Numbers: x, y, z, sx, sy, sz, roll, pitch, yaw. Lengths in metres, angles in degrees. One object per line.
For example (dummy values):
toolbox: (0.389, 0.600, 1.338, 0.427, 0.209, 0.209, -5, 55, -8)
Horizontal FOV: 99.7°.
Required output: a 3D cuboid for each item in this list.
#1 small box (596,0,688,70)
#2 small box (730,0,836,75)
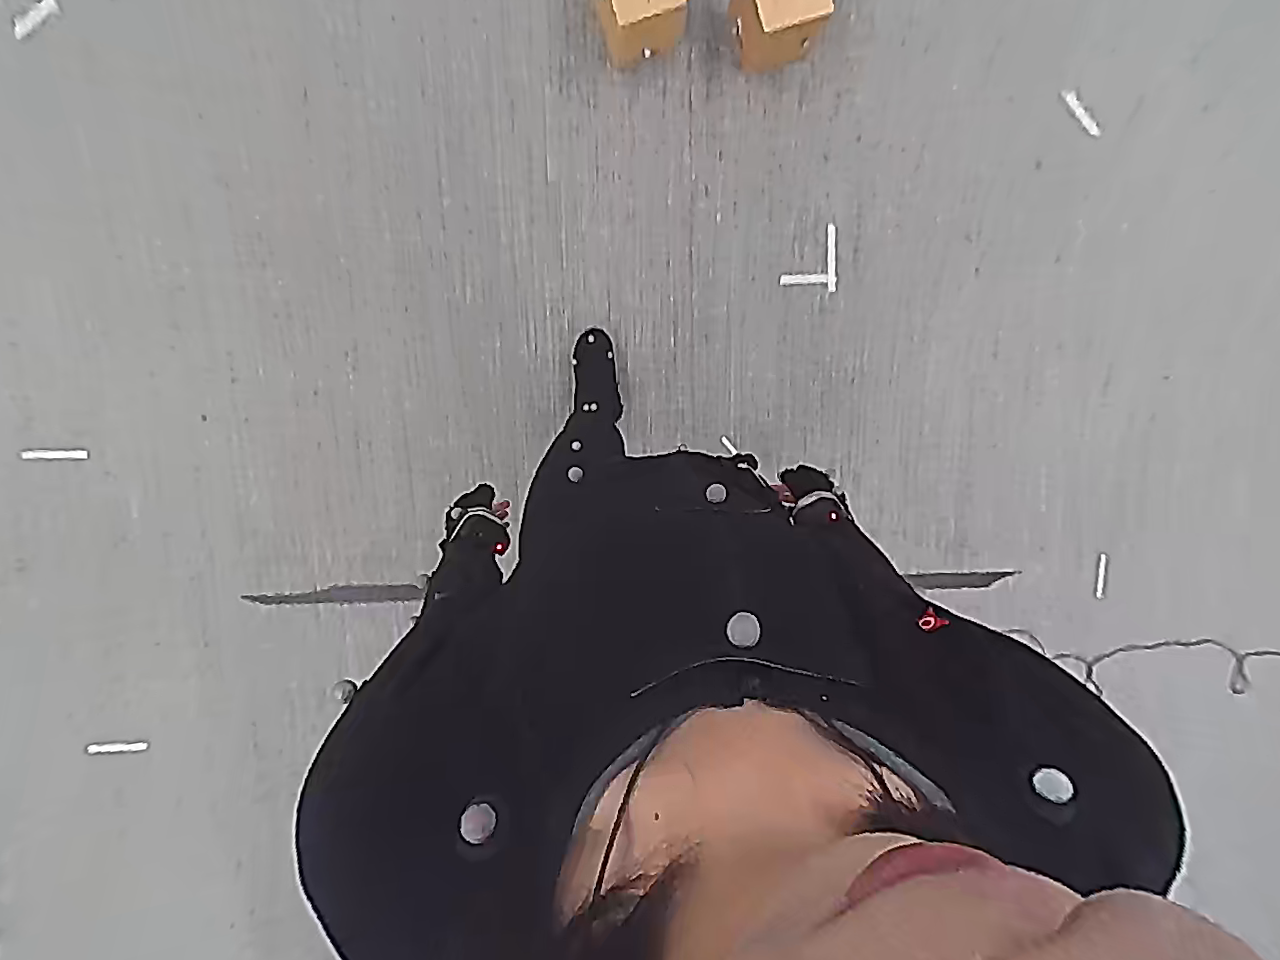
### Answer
small box: (-0.002, -1.126, 1.271, 0.168, 0.176, 0.179, -20, 99, -2)
small box: (0.337, -1.128, 1.300, 0.179, 0.176, 0.168, -20, 98, -1)
